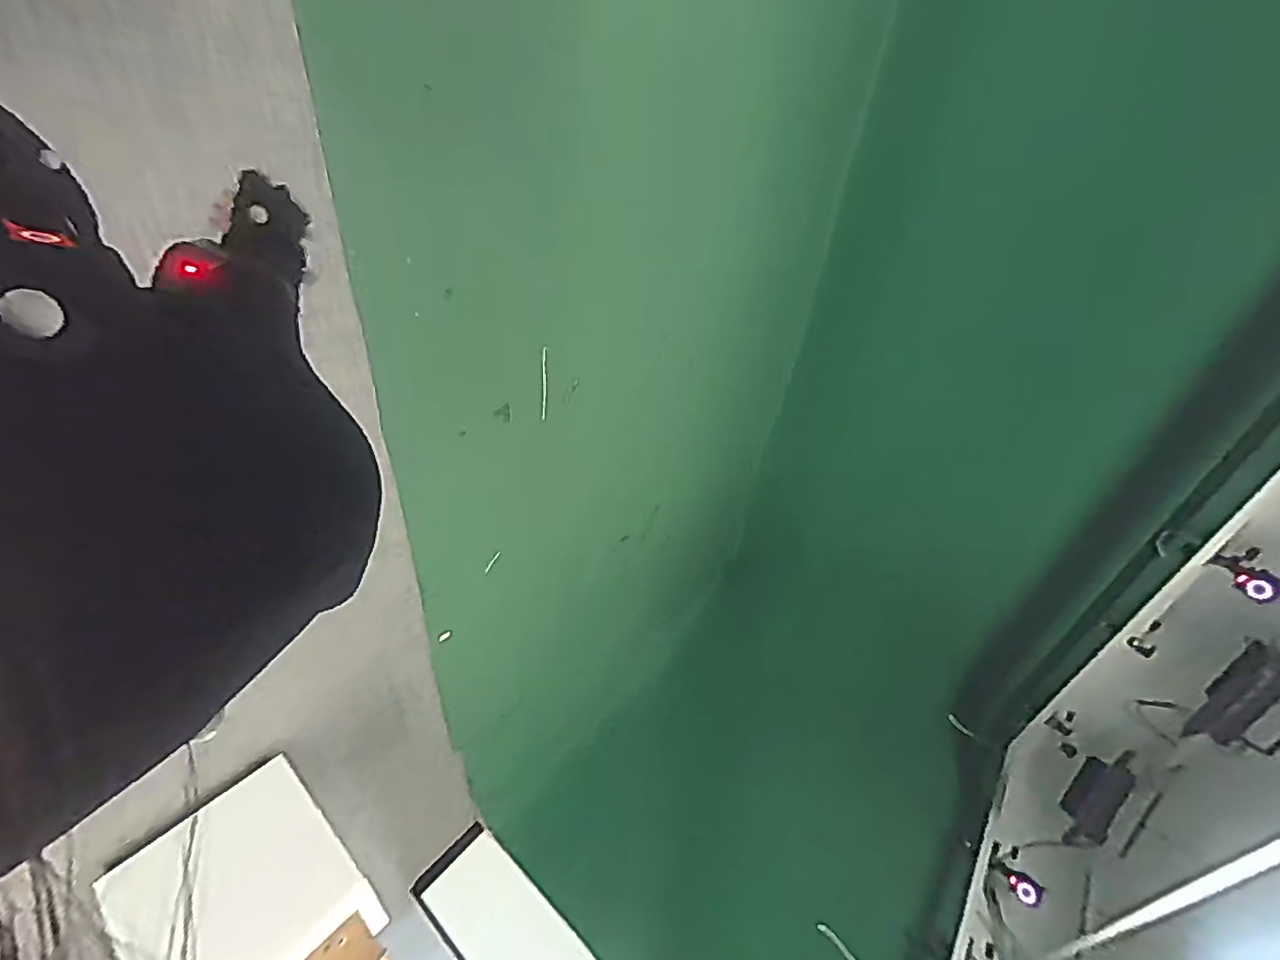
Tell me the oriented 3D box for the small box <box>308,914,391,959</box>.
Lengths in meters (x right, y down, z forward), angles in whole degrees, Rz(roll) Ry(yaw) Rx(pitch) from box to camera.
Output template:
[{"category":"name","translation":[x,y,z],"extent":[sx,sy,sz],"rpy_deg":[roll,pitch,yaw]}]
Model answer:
[{"category":"small box","translation":[-0.851,1.444,1.600],"extent":[0.168,0.176,0.179],"rpy_deg":[-34,141,-40]}]
